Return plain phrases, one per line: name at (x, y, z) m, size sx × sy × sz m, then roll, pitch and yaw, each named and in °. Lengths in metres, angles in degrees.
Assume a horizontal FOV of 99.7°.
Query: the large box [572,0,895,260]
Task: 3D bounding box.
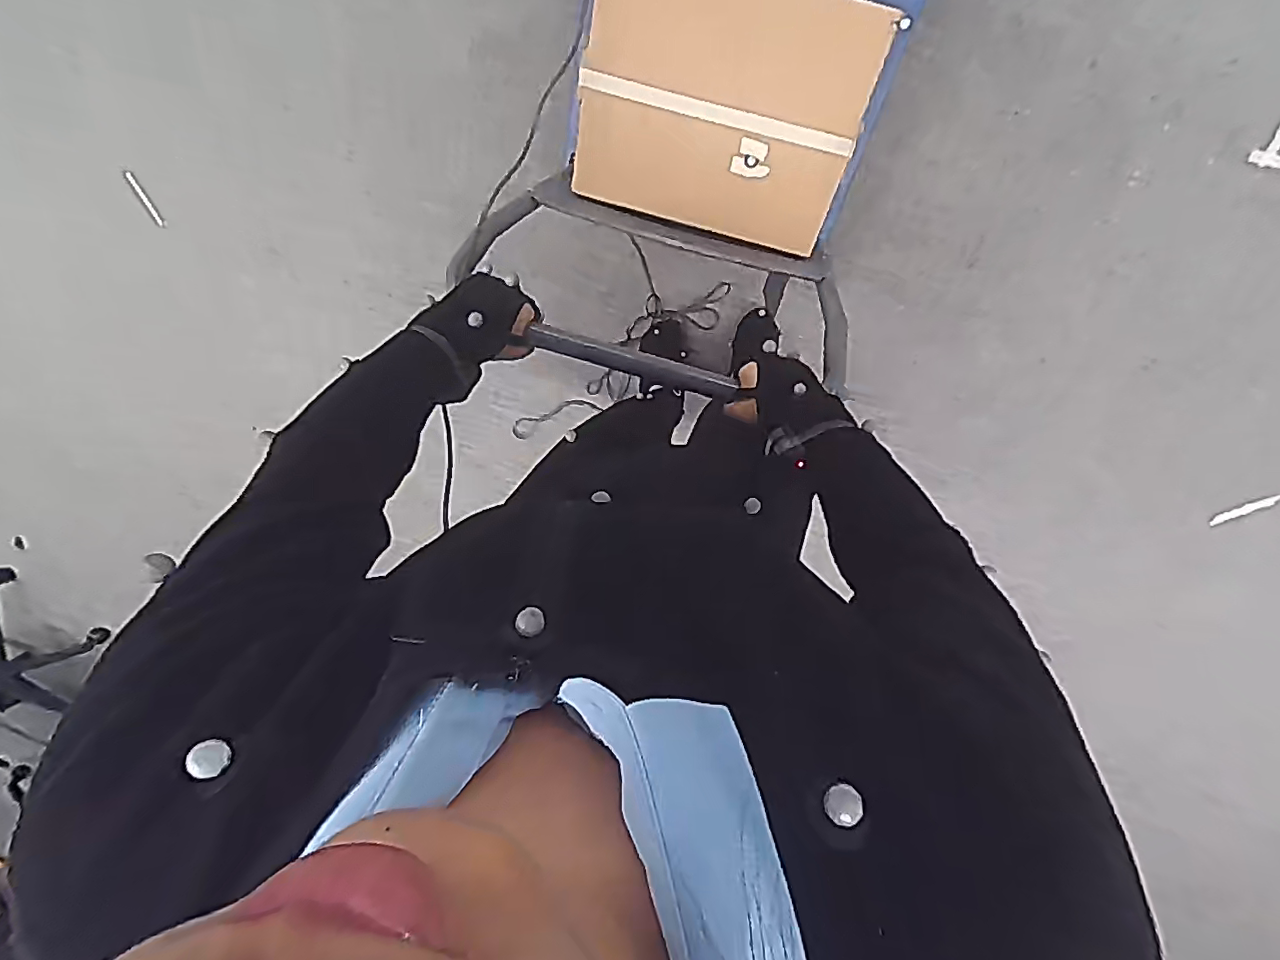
large box at (0.130, -0.604, 0.906) m, size 0.408 × 0.320 × 0.320 m, roll 15°, pitch 126°, yaw 0°
